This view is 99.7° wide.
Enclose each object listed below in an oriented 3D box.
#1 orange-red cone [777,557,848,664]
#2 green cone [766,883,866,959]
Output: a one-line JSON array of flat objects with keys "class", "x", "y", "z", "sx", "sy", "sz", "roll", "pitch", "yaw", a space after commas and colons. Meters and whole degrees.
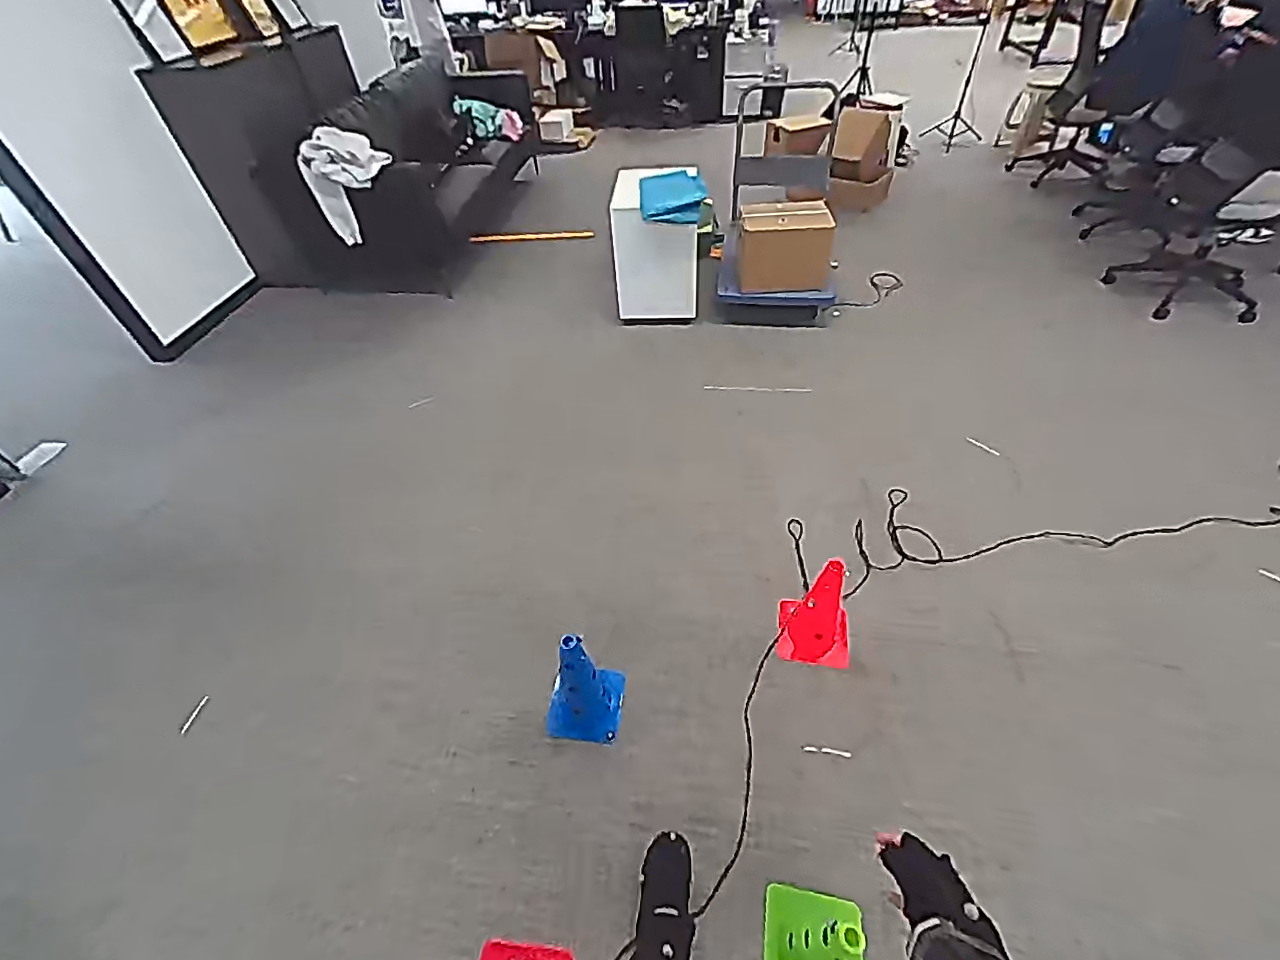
[{"class": "orange-red cone", "x": 0.501, "y": 0.328, "z": 1.485, "sx": 0.198, "sy": 0.360, "sz": 0.199, "roll": 7, "pitch": 49, "yaw": 12}, {"class": "green cone", "x": 0.355, "y": 0.850, "z": 0.993, "sx": 0.200, "sy": 0.368, "sz": 0.202, "roll": 6, "pitch": 46, "yaw": 9}]
